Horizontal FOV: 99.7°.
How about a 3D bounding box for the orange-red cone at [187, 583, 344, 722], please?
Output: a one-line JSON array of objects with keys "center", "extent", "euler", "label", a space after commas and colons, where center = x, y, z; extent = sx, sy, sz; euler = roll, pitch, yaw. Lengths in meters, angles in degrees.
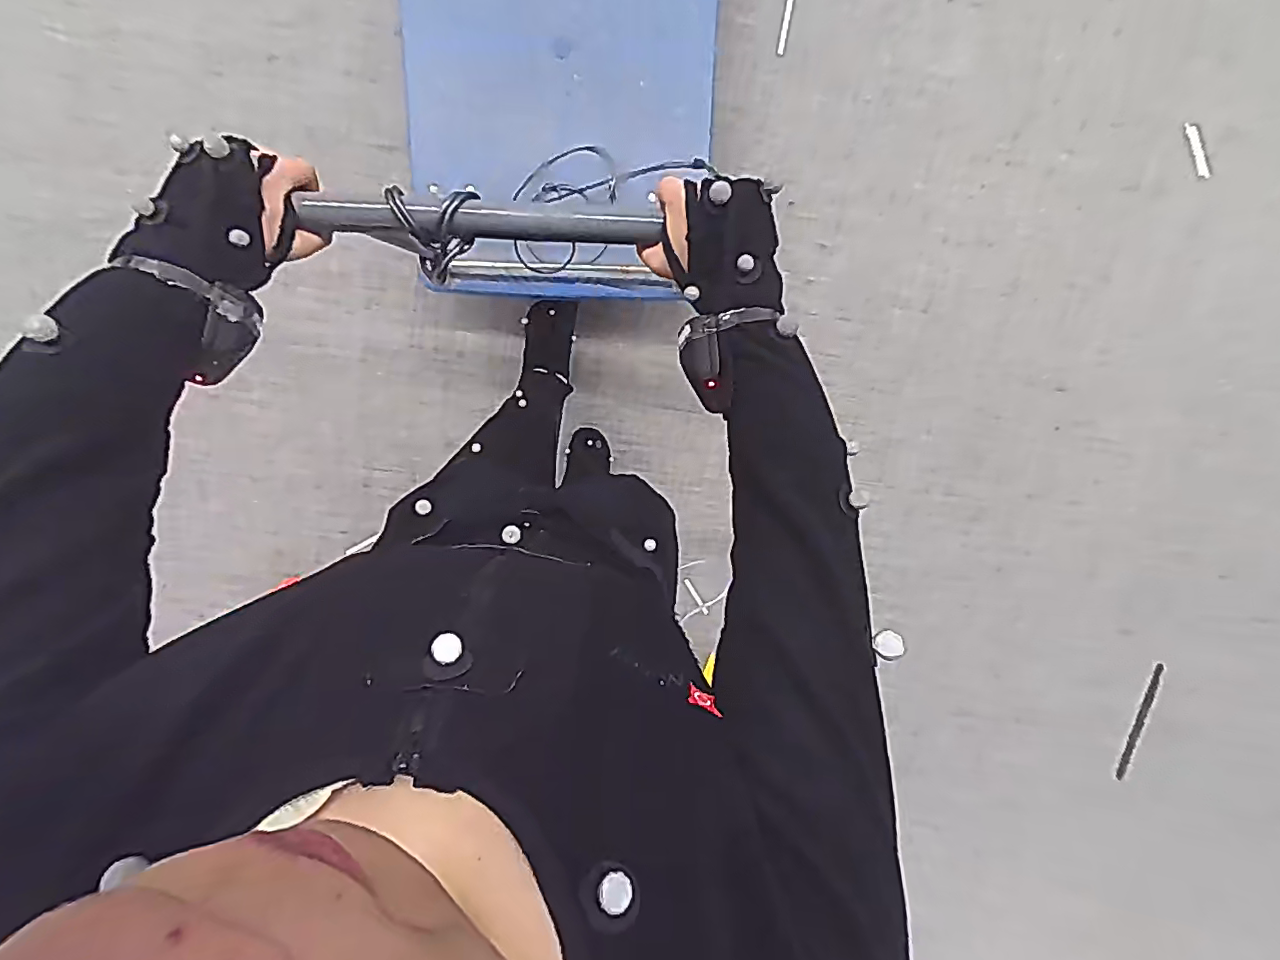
[{"center": [-0.886, 0.420, 1.235], "extent": [0.199, 0.360, 0.198], "euler": [-36, 103, 4], "label": "orange-red cone"}]
